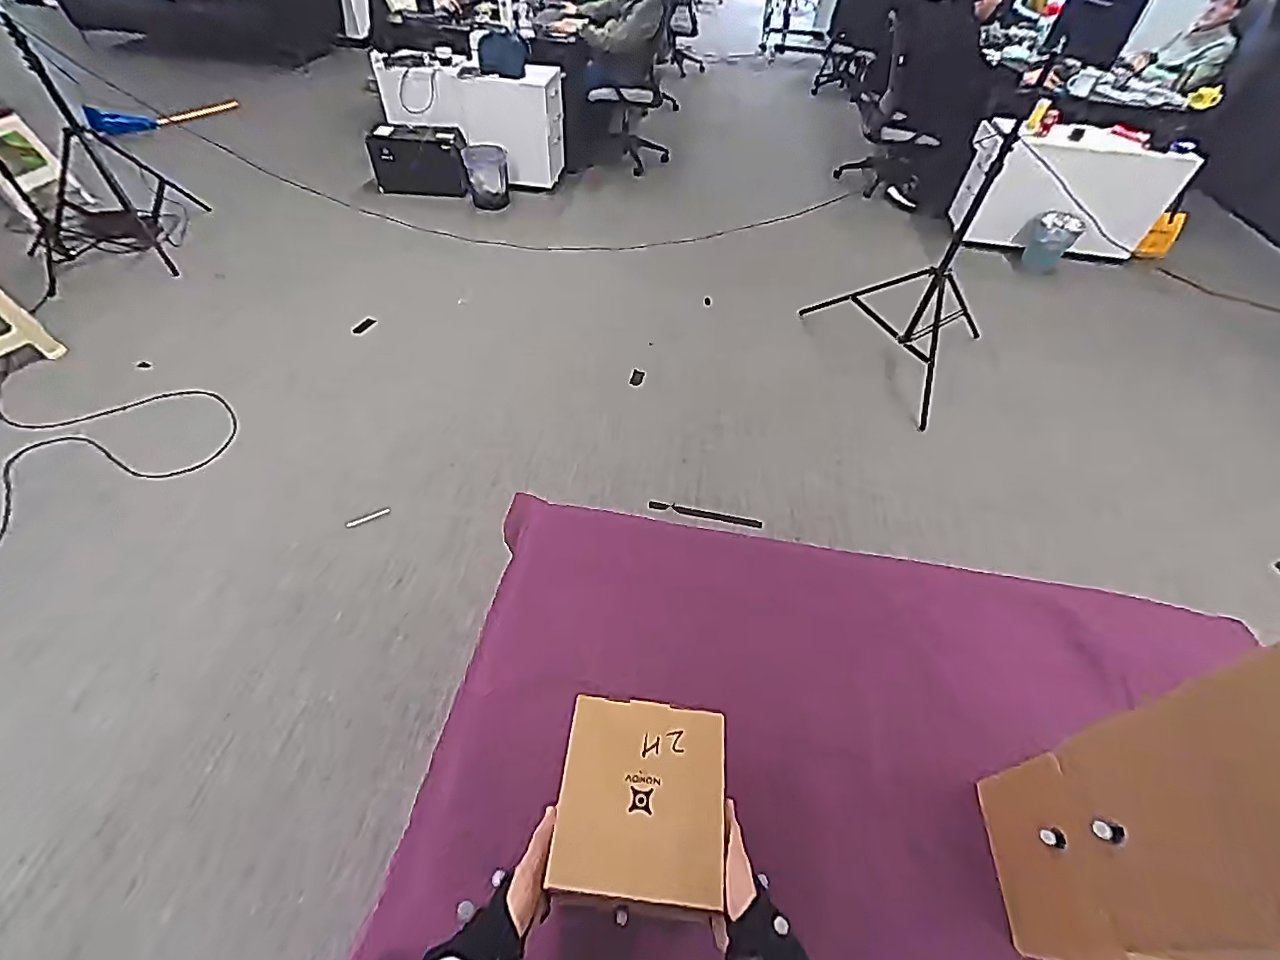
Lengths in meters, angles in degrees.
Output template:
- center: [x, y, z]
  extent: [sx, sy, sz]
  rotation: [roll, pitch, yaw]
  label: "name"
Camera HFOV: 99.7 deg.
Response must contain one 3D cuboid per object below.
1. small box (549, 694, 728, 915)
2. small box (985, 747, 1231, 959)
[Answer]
- center: [0.003, 0.363, 0.602]
  extent: [0.168, 0.176, 0.179]
  rotation: [6, 48, 2]
  label: "small box"
- center: [0.523, 0.423, 0.595]
  extent: [0.168, 0.176, 0.179]
  rotation: [8, 48, 3]
  label: "small box"
